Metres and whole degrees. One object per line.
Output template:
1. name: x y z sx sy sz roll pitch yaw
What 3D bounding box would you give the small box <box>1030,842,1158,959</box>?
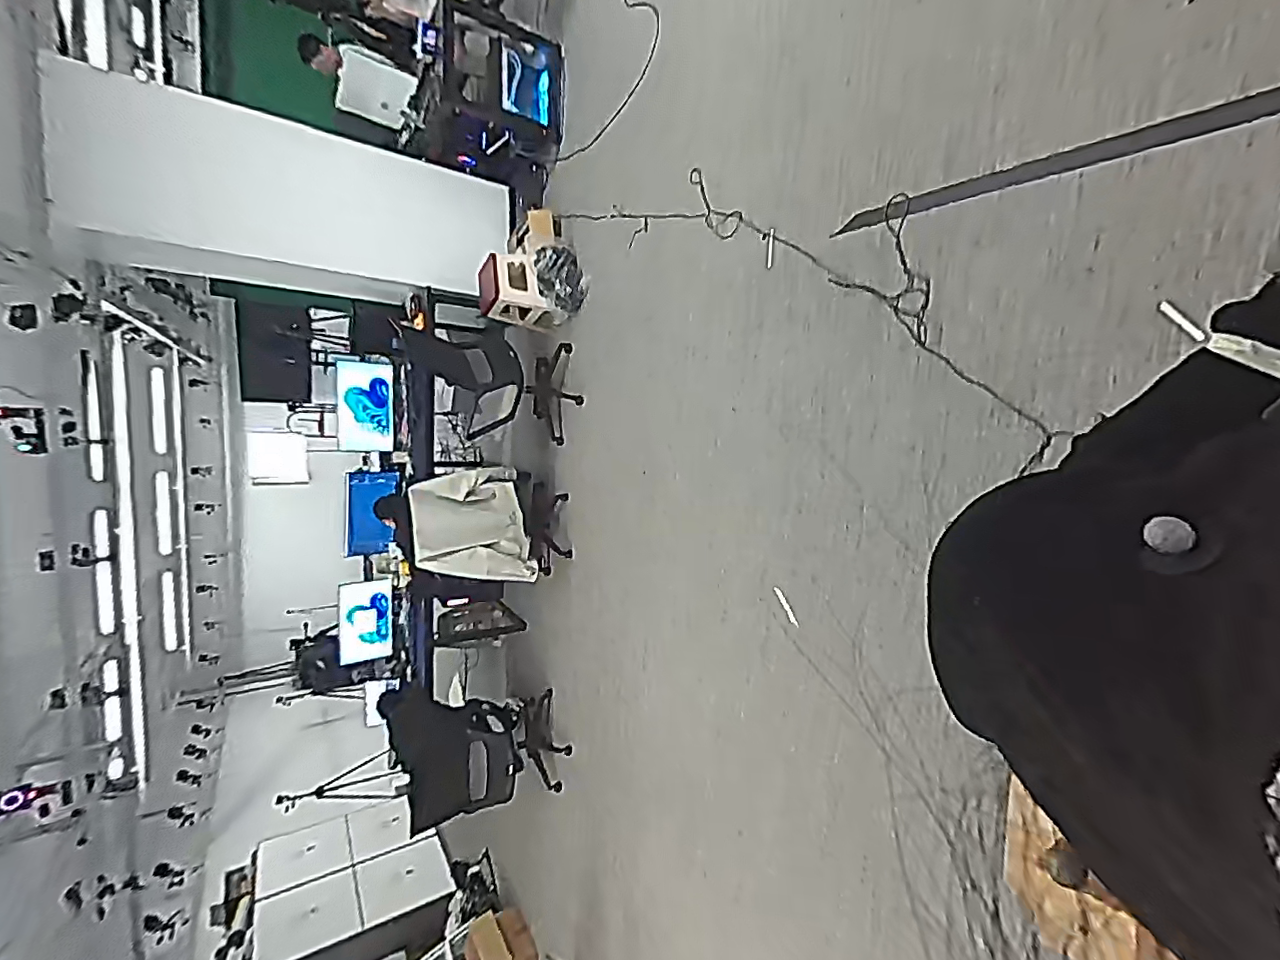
1. small box: 0.978 0.926 1.167 0.179 0.176 0.168 0 93 55
